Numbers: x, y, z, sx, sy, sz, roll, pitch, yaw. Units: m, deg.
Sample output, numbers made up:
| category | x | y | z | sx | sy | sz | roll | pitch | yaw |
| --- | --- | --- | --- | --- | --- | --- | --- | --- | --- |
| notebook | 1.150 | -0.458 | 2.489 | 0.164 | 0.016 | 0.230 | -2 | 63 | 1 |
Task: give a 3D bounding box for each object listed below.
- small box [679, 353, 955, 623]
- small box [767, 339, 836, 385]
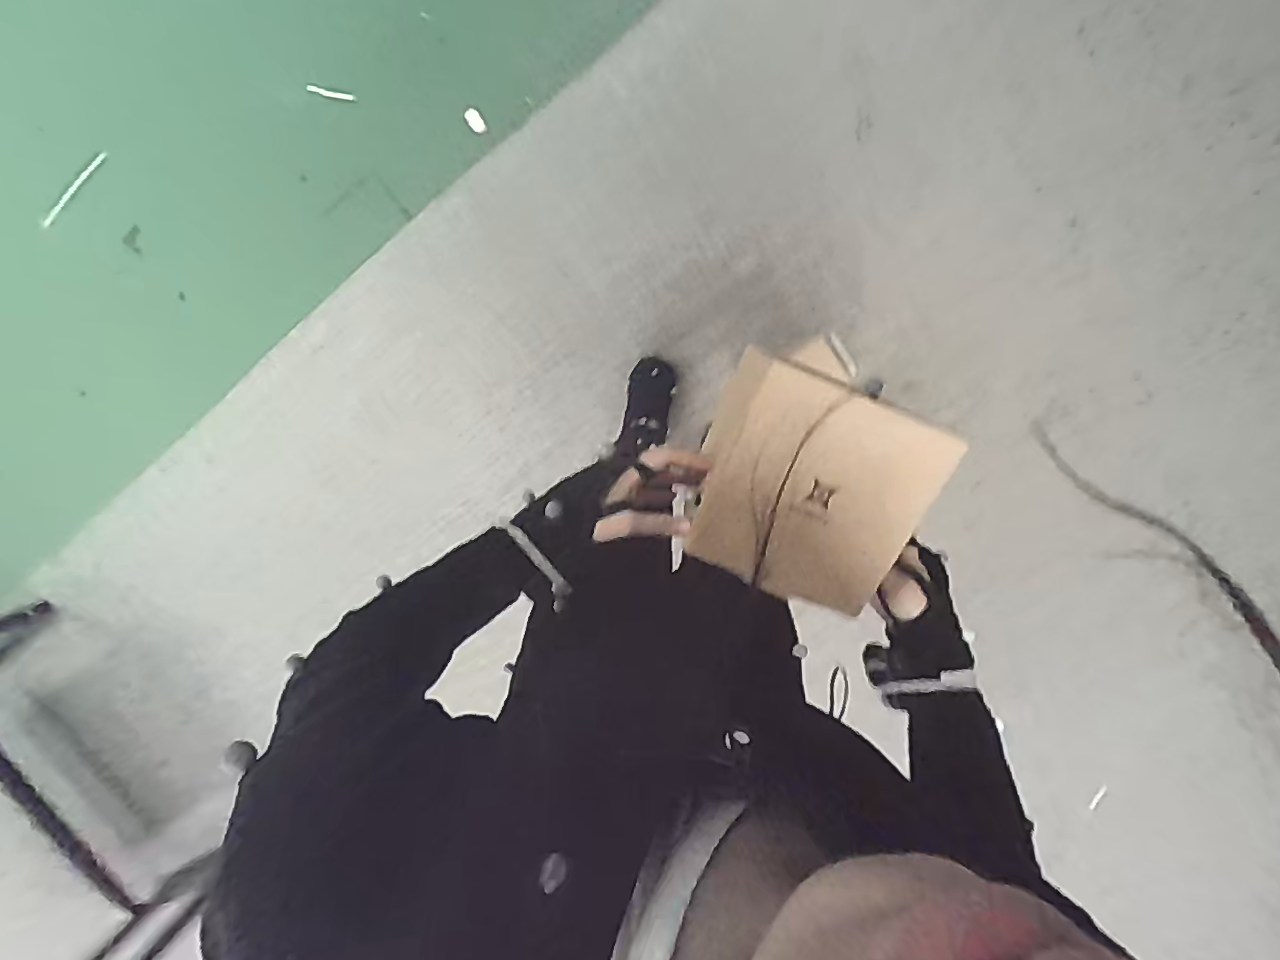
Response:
| category | x | y | z | sx | sy | sz | roll | pitch | yaw |
| --- | --- | --- | --- | --- | --- | --- | --- | --- | --- |
| small box | 0.143 | -0.005 | 0.511 | 0.168 | 0.176 | 0.179 | 21 | 112 | -3 |
| small box | 0.340 | -0.213 | 1.256 | 0.179 | 0.176 | 0.168 | -31 | 97 | 15 |
